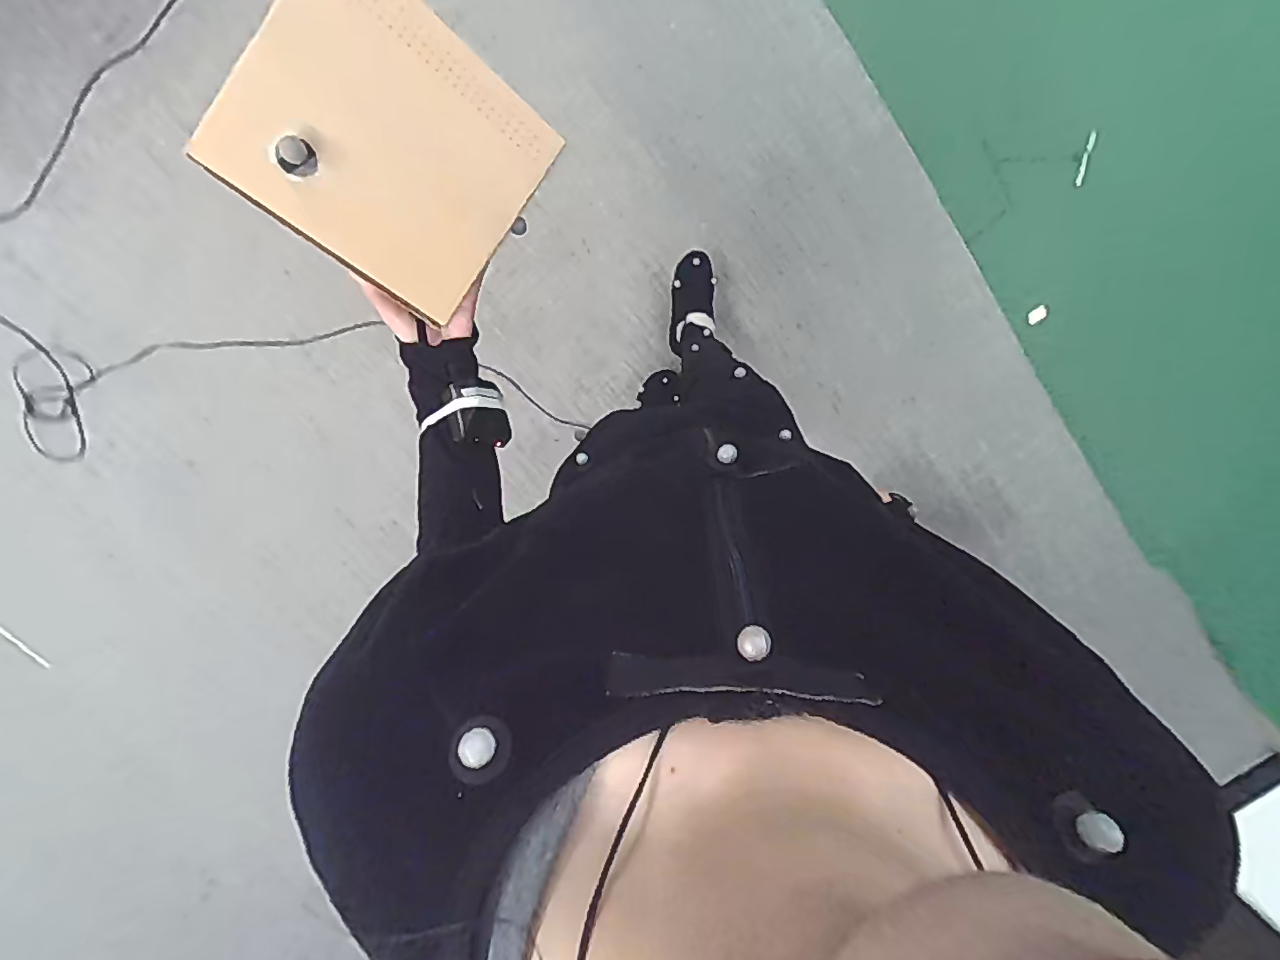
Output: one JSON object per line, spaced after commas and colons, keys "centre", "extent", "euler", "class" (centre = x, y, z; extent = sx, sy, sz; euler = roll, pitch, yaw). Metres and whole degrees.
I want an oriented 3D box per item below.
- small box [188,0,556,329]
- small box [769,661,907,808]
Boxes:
{"centre": [-0.198, -0.247, 0.435], "extent": [0.179, 0.168, 0.176], "euler": [32, 95, -28], "class": "small box"}
{"centre": [0.389, 0.503, 1.095], "extent": [0.179, 0.176, 0.168], "euler": [-34, 101, 7], "class": "small box"}
